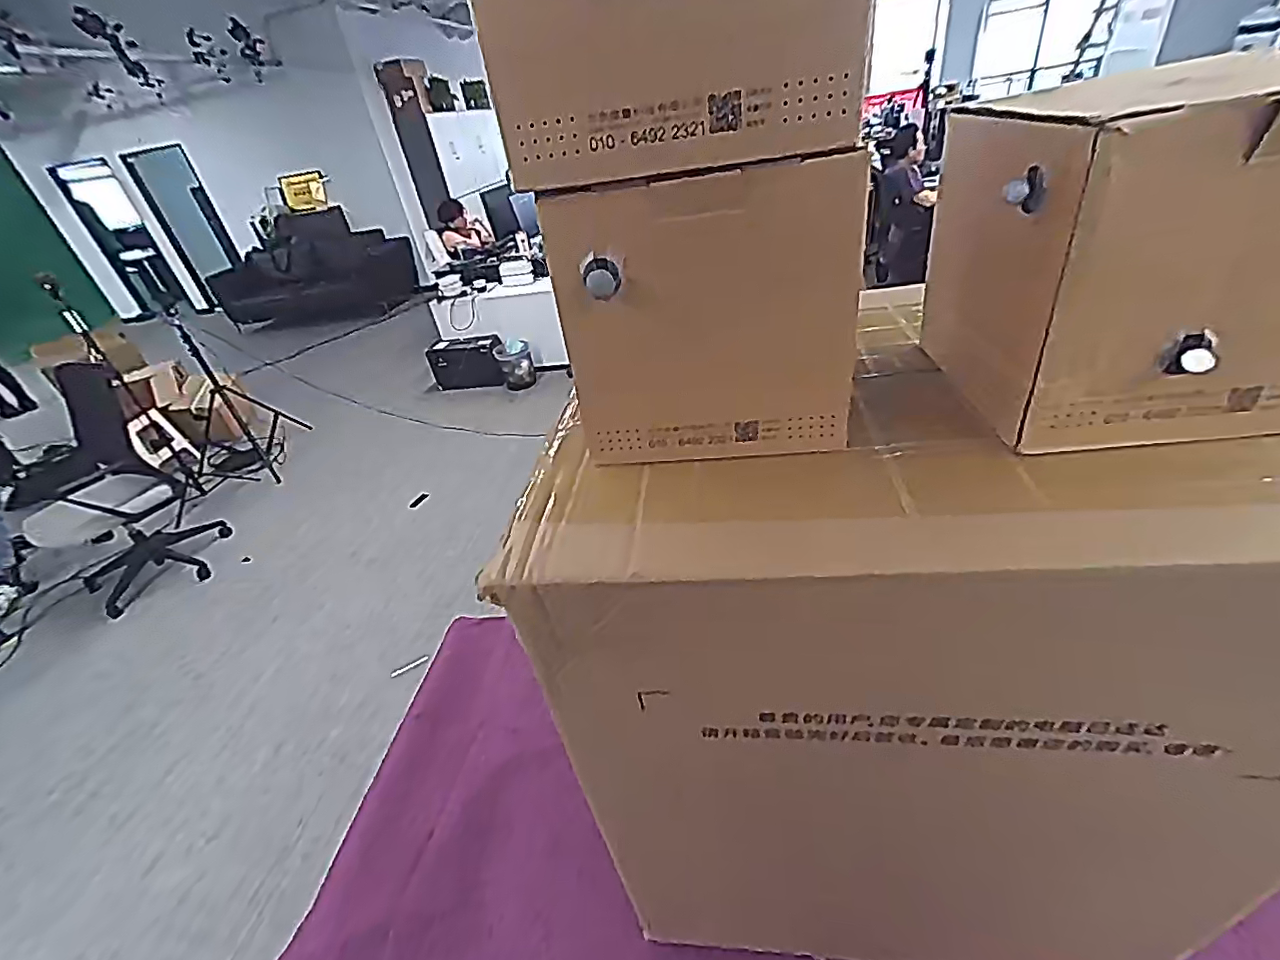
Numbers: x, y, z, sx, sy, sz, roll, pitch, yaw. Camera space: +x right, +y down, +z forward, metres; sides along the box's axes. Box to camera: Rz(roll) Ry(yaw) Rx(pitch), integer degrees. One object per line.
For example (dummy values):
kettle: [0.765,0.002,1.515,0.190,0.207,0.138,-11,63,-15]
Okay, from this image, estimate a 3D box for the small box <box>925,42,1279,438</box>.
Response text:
small box: [0.290,-0.142,0.322,0.168,0.176,0.179,-5,35,9]

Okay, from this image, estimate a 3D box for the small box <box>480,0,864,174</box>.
small box: [0.014,-0.265,0.278,0.168,0.176,0.179,-4,34,6]
